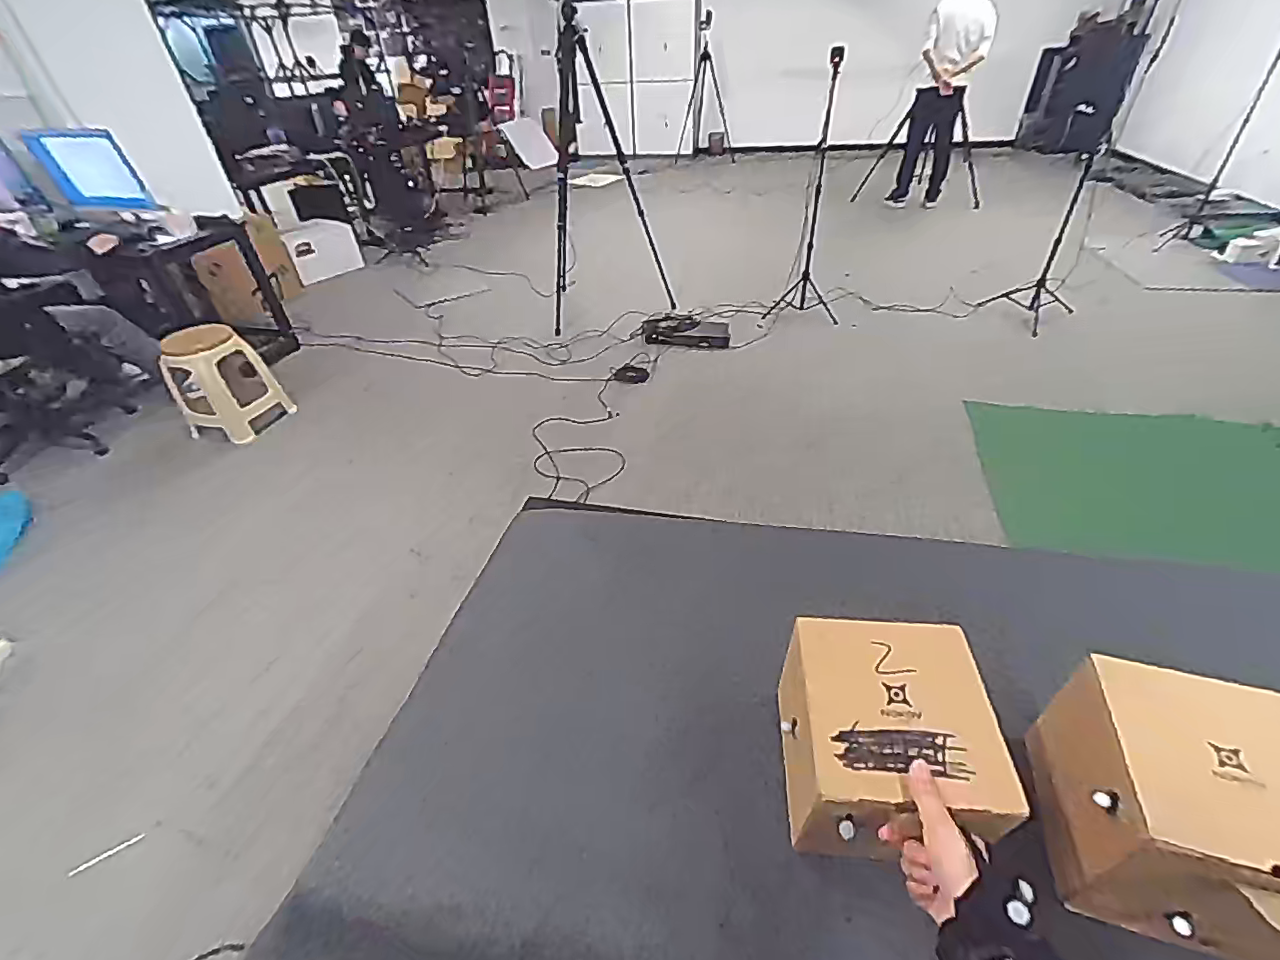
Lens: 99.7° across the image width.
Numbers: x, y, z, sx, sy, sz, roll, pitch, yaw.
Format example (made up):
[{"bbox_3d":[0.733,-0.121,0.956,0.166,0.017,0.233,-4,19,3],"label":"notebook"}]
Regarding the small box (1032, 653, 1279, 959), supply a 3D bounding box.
[{"bbox_3d":[0.500,0.299,0.501,0.168,0.176,0.179,10,41,16],"label":"small box"}]
